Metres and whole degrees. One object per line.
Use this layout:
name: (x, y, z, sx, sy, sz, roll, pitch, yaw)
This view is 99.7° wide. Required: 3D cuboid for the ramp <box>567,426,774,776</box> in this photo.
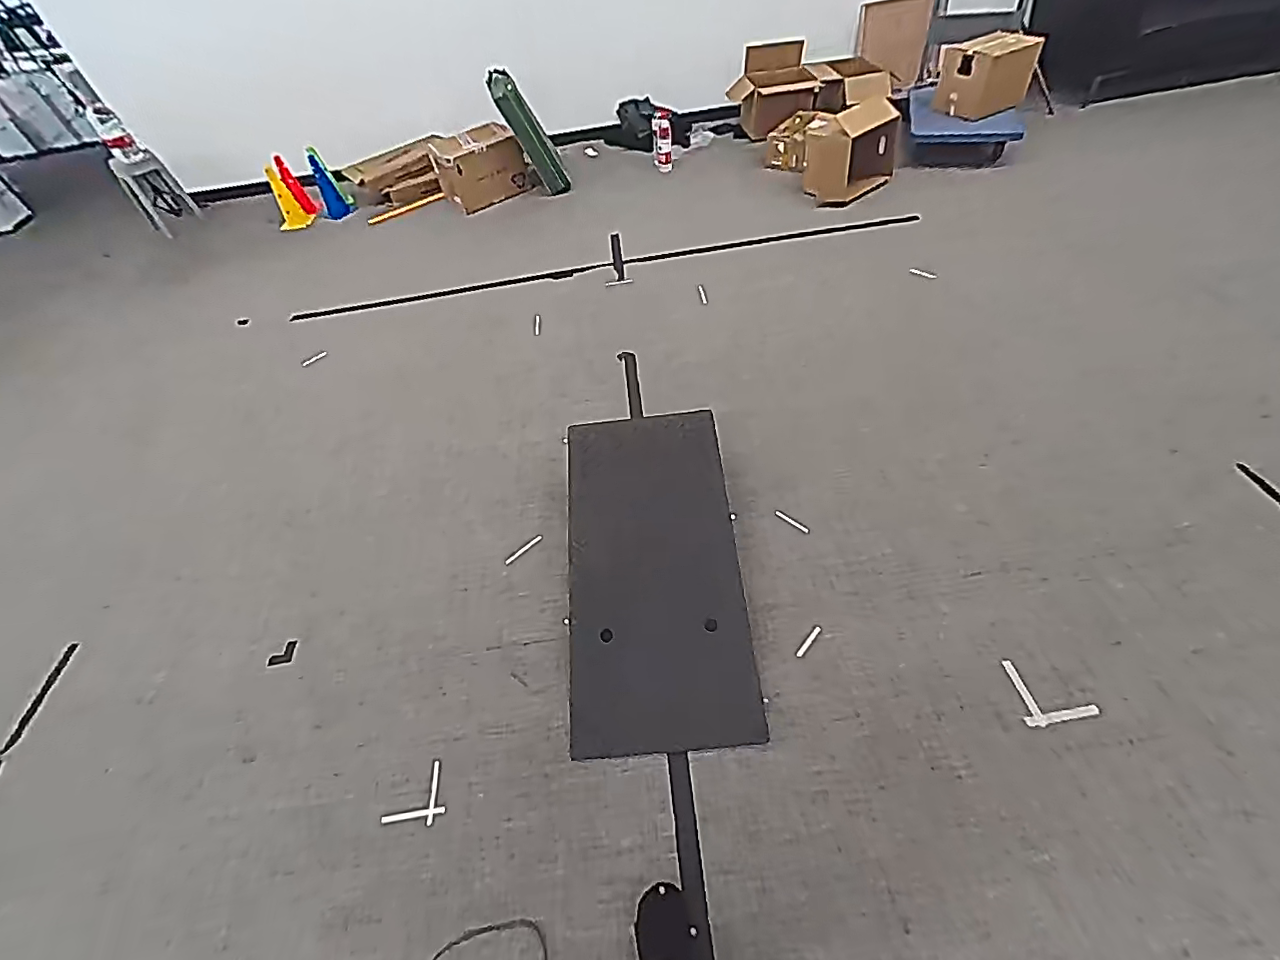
ramp: (0.043, 0.275, 1.579, 0.509, 0.206, 0.991, -8, 48, 0)
